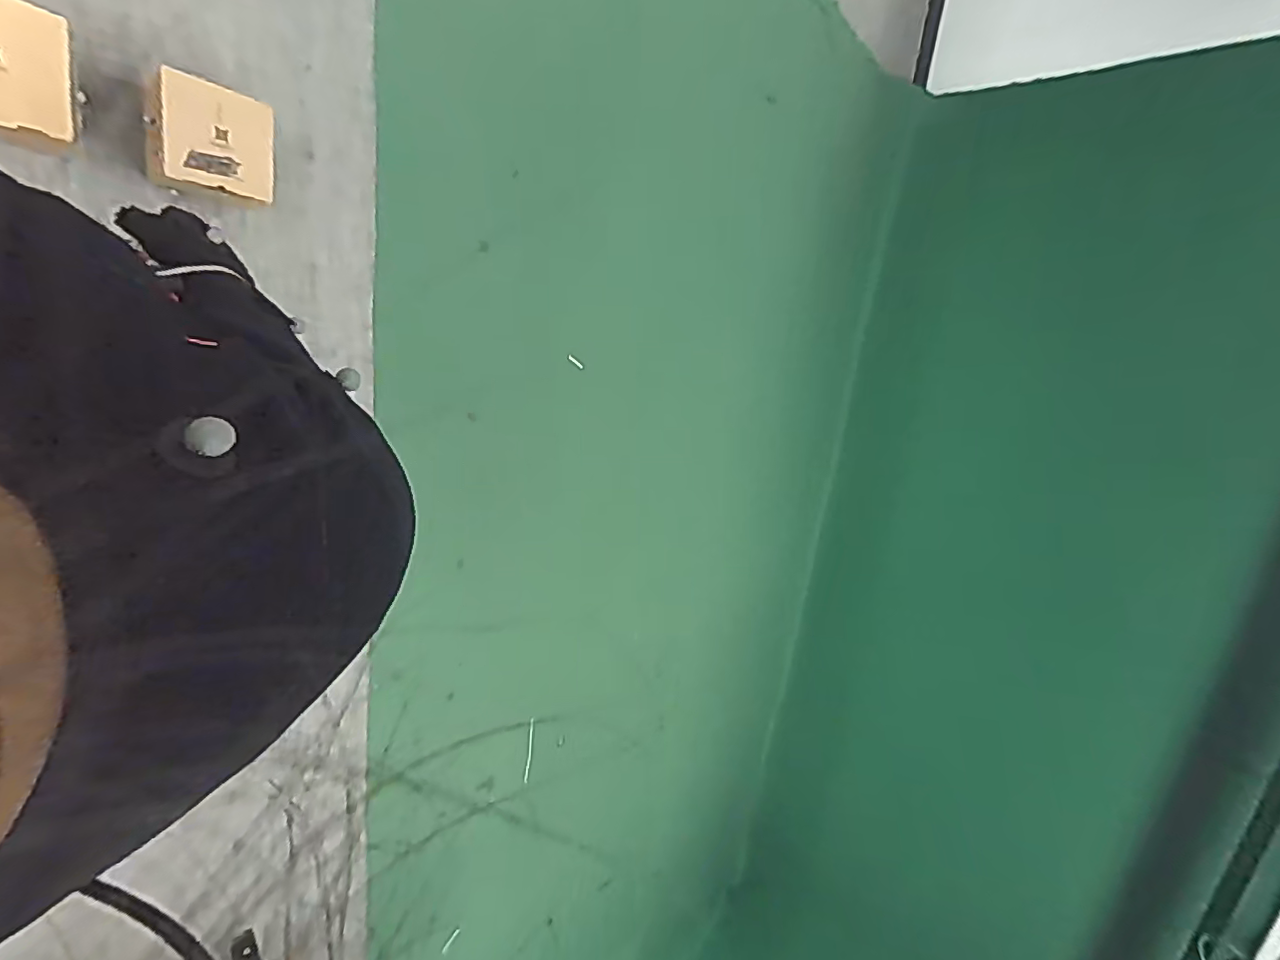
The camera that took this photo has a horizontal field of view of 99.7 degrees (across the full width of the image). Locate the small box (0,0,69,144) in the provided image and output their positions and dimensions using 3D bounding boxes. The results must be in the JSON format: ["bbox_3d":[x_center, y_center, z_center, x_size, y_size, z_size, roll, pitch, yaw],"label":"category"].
[{"bbox_3d":[-1.000,-0.646,0.824,0.168,0.176,0.179,-4,109,-49],"label":"small box"}]

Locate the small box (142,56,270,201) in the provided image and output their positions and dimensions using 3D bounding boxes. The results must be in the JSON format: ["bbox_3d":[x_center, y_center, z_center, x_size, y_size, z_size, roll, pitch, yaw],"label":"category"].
[{"bbox_3d":[-0.823,-0.649,1.027,0.168,0.176,0.179,-5,108,-48],"label":"small box"}]
